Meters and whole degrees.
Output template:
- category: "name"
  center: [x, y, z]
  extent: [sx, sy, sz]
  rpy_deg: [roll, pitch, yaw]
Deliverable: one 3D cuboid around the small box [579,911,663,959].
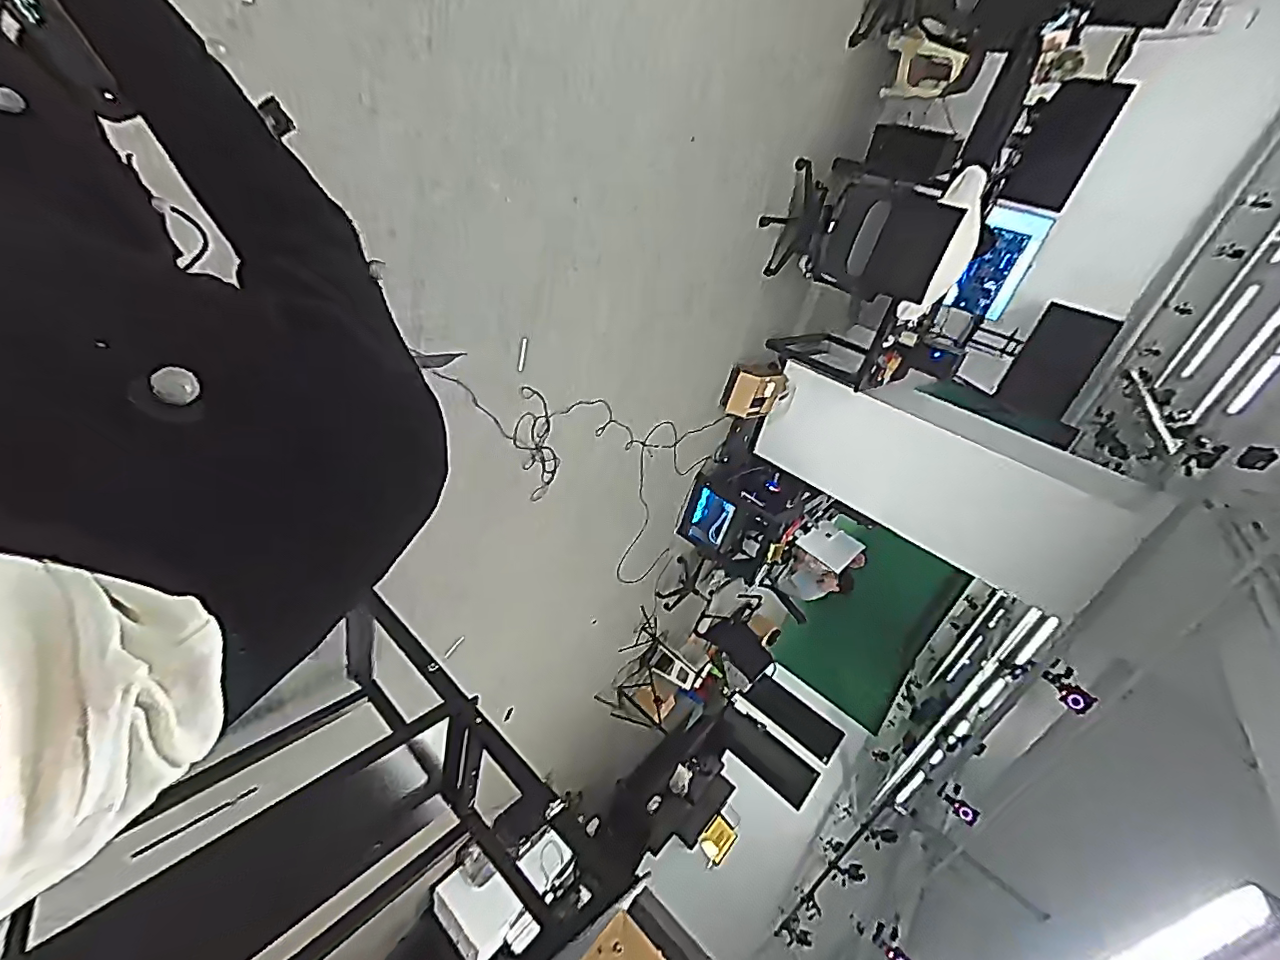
- category: "small box"
  center: [-0.054, 1.274, 1.398]
  extent: [0.168, 0.176, 0.179]
  rpy_deg: [-28, 140, -40]
